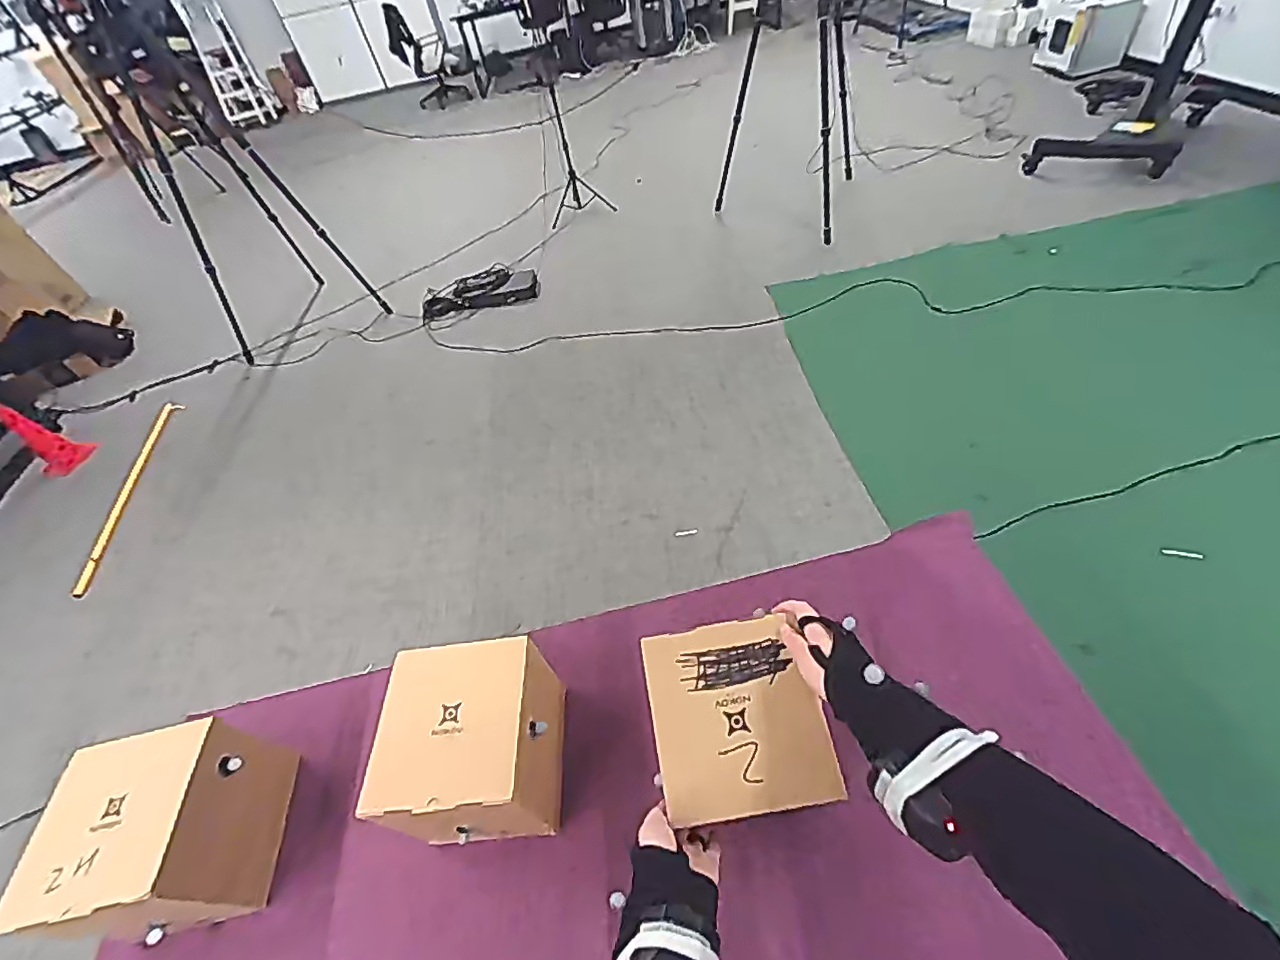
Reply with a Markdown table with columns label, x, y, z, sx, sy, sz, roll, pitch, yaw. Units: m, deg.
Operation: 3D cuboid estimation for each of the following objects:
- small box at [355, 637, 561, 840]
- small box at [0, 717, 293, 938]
| label | x | y | z | sx | sy | sz | roll | pitch | yaw |
| --- | --- | --- | --- | --- | --- | --- | --- | --- | --- |
| small box | -0.198 | 0.313 | 0.651 | 0.168 | 0.176 | 0.179 | -9 | 49 | 5 |
| small box | -0.552 | 0.411 | 0.639 | 0.168 | 0.176 | 0.179 | -14 | 48 | 0 |
